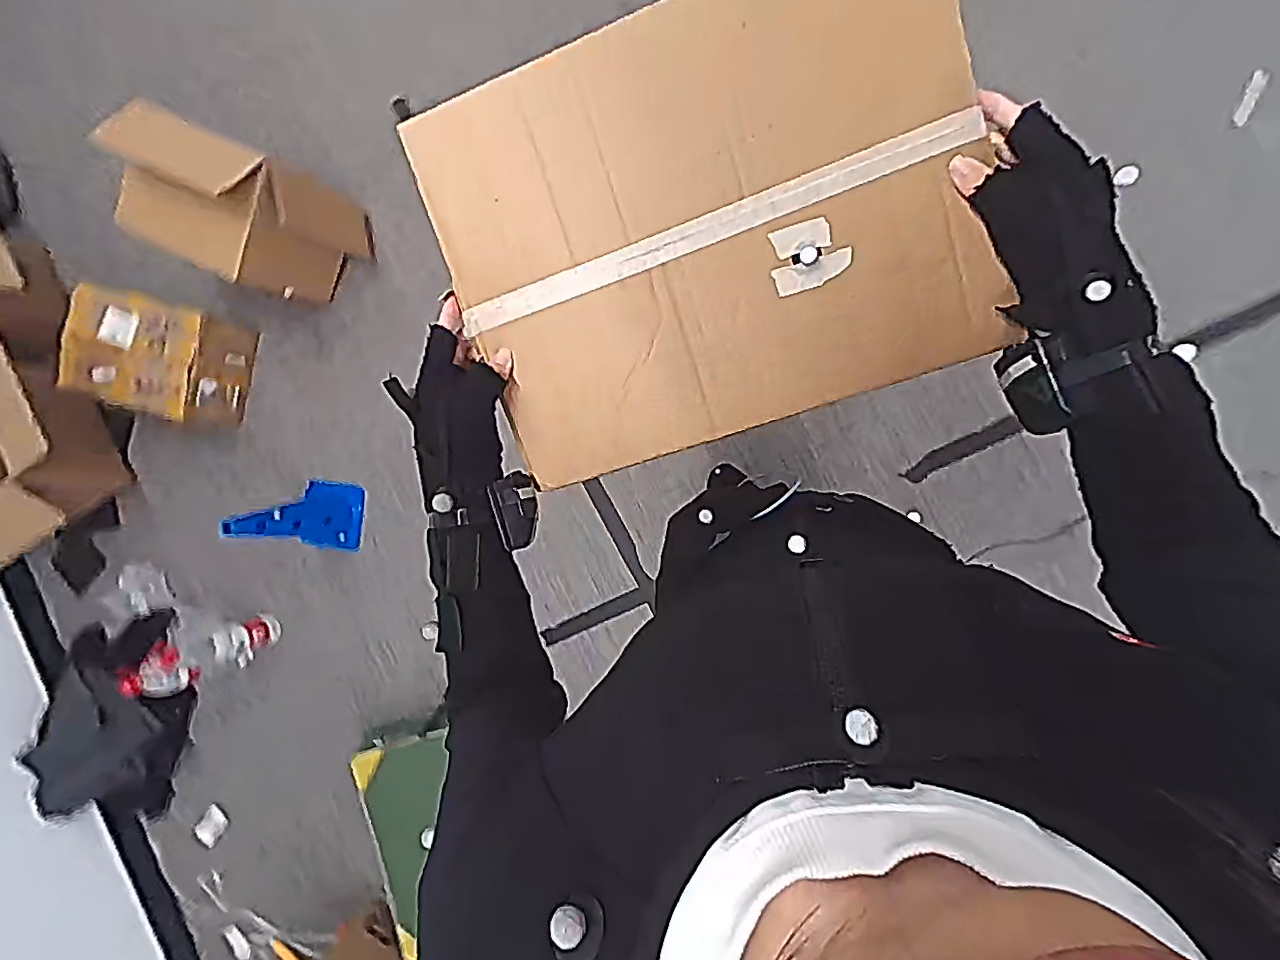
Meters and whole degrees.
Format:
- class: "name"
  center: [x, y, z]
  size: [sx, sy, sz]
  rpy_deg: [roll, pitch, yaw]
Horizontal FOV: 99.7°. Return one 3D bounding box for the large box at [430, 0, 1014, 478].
- class: "large box"
  center: [0.075, -0.228, 0.573]
  size: [0.408, 0.320, 0.320]
  rpy_deg: [-16, 100, 10]
